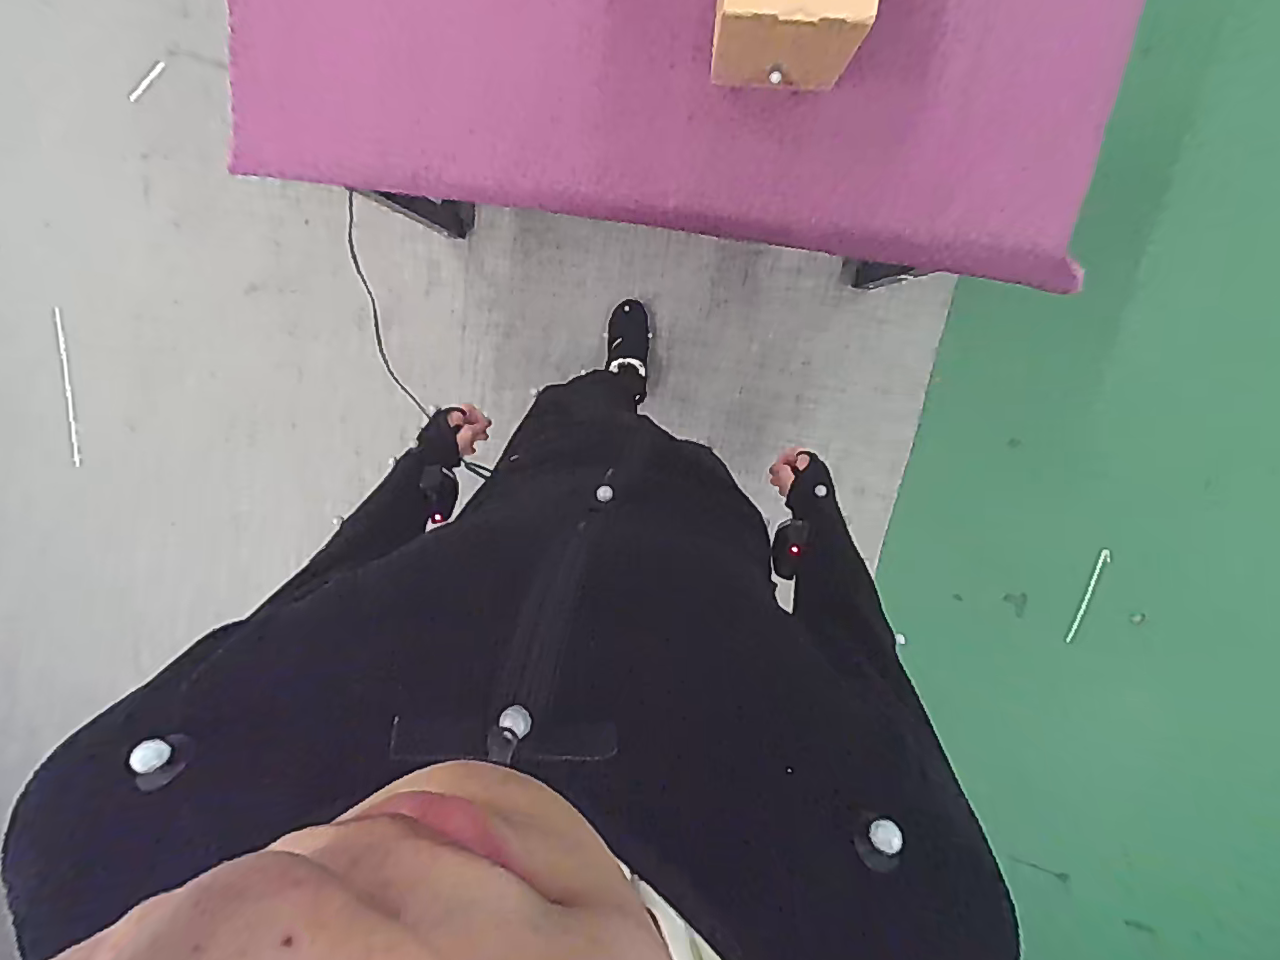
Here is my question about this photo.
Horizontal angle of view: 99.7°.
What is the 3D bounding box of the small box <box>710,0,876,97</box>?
[{"bbox_3d":[0.178,-0.596,0.641,0.168,0.176,0.179,5,104,1],"label":"small box"}]
